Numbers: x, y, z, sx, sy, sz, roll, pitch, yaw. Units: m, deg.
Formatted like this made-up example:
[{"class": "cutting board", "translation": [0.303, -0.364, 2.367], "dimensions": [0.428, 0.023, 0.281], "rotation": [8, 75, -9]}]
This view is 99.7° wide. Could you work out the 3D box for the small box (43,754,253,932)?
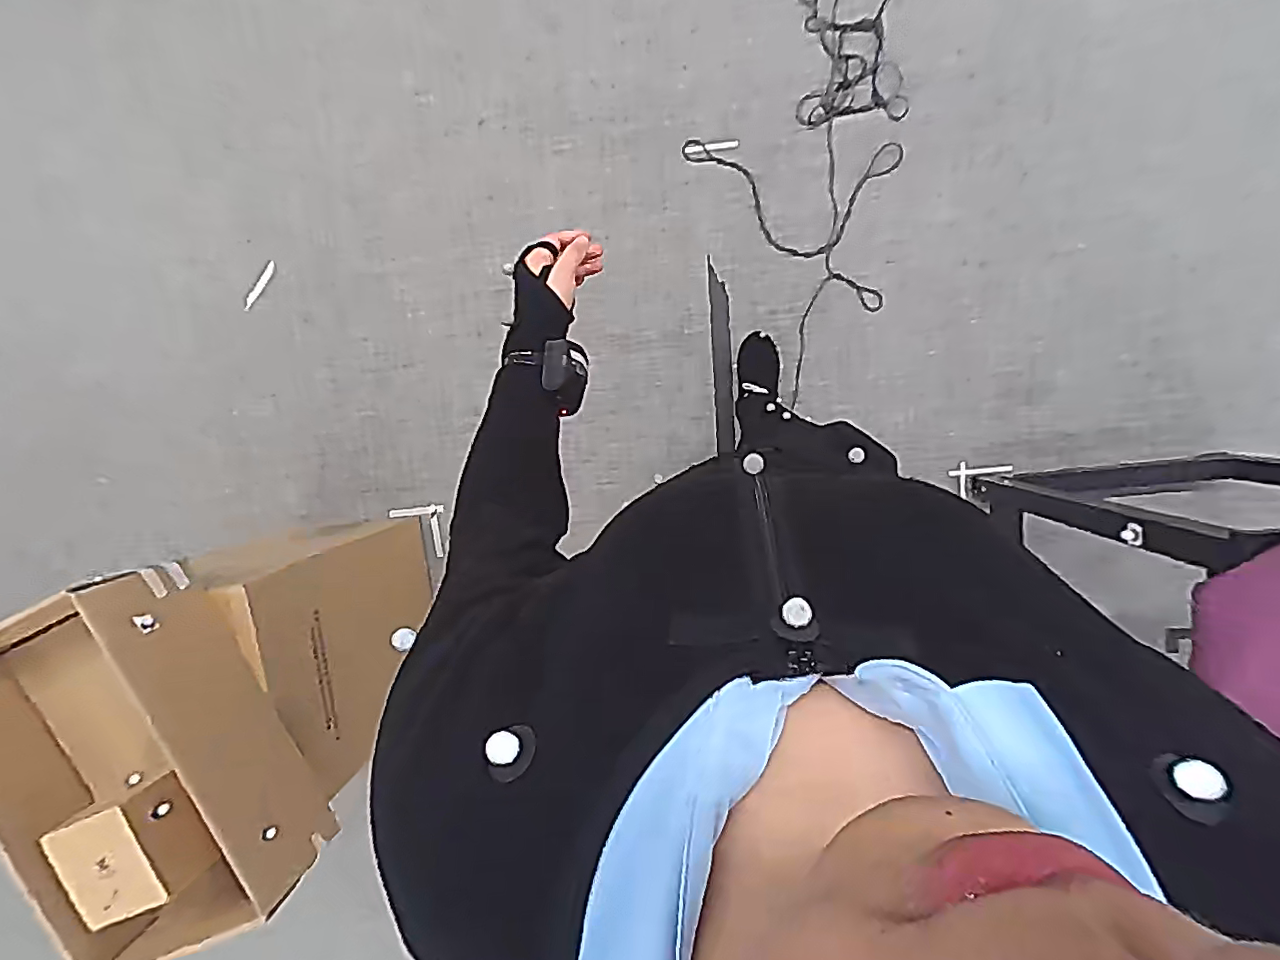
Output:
[{"class": "small box", "translation": [-0.825, 0.602, 0.925], "dimensions": [0.168, 0.176, 0.179], "rotation": [-24, 94, 8]}]
